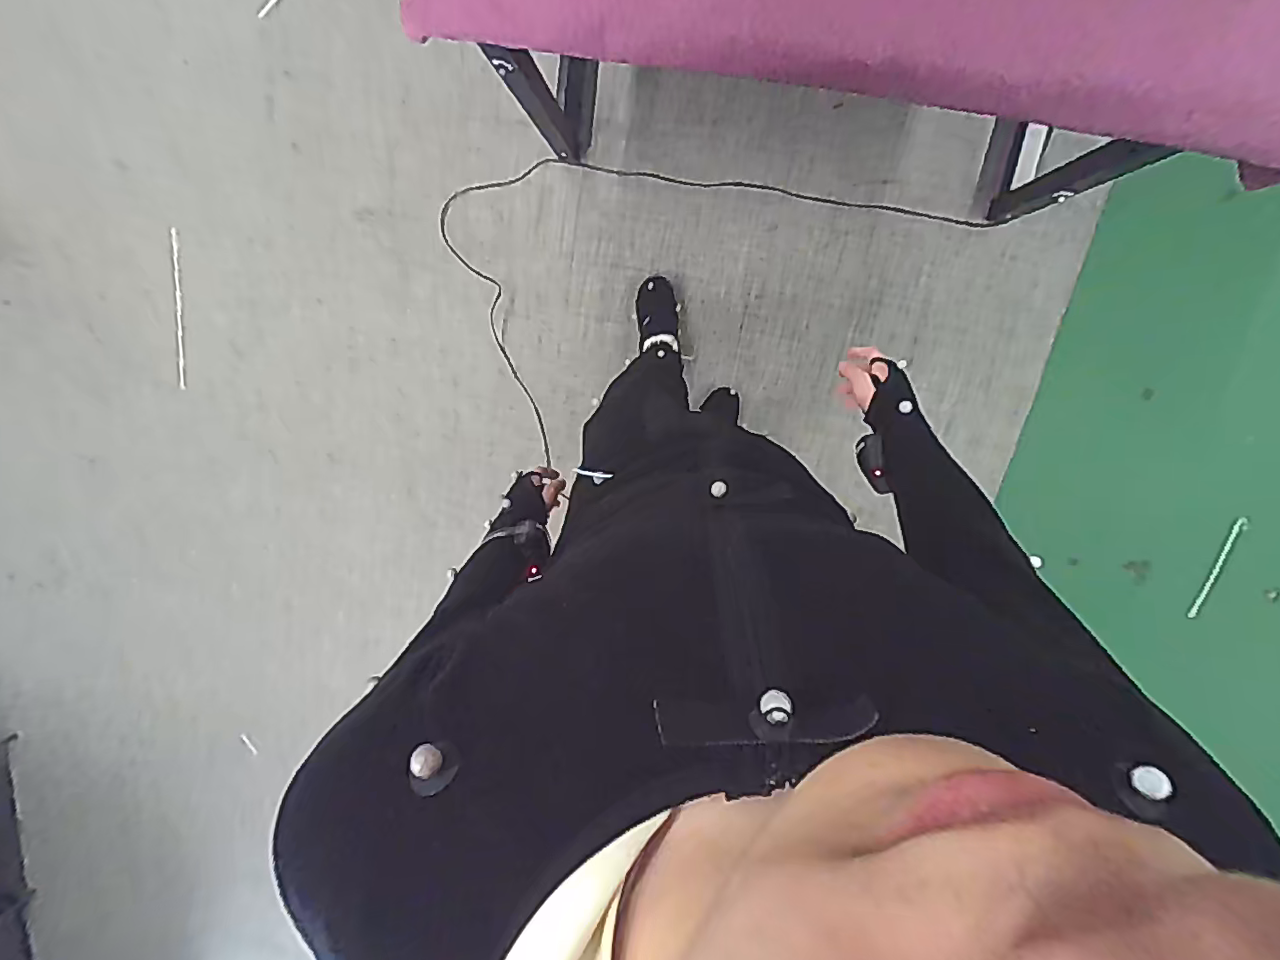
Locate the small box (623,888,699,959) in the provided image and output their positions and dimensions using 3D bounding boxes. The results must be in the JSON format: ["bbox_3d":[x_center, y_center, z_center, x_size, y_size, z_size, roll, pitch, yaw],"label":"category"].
[{"bbox_3d":[0.055,1.221,1.416,0.179,0.176,0.168,12,104,5],"label":"small box"}]
